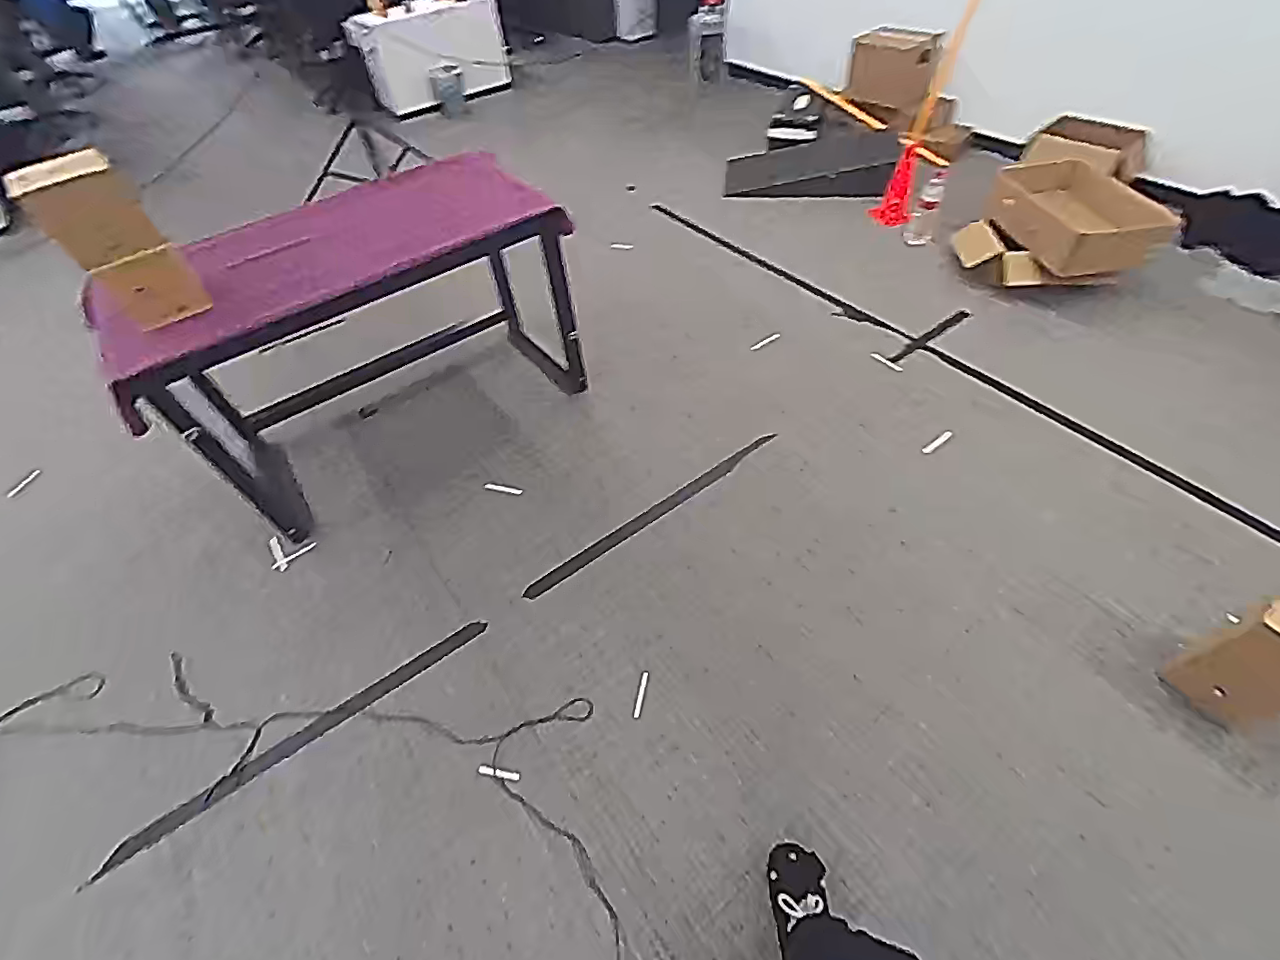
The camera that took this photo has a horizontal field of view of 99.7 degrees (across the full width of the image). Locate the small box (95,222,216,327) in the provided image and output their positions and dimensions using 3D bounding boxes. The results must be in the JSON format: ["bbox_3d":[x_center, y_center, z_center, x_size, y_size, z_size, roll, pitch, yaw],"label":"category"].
[{"bbox_3d":[-1.207,-0.506,1.347,0.168,0.176,0.179,-35,57,-22],"label":"small box"}]

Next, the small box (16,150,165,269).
[{"bbox_3d":[-1.226,-0.610,1.221,0.179,0.176,0.168,-36,57,-23],"label":"small box"}]

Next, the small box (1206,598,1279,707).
[{"bbox_3d":[1.424,0.374,1.176,0.168,0.176,0.179,-28,54,-18],"label":"small box"}]
